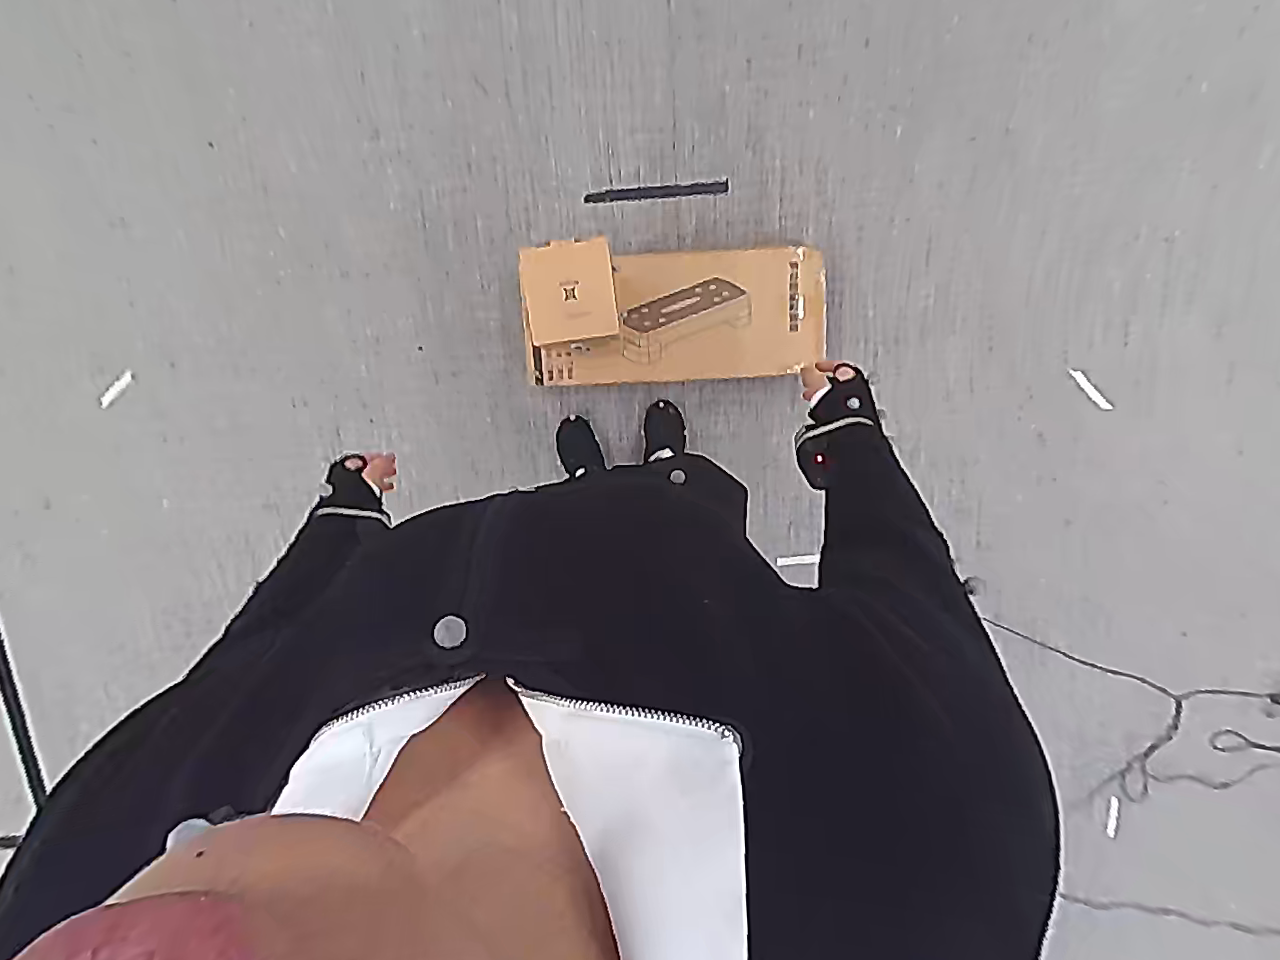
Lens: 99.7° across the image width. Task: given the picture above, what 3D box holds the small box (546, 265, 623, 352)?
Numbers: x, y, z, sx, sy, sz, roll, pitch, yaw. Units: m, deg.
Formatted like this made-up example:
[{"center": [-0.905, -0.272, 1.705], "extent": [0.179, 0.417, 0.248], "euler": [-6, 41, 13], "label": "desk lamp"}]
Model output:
[{"center": [-0.125, -0.383, 1.234], "extent": [0.168, 0.176, 0.179], "euler": [-1, 100, -1], "label": "small box"}]

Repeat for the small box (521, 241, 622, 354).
[{"center": [-0.128, -0.354, 1.074], "extent": [0.168, 0.176, 0.179], "euler": [-8, 100, 1], "label": "small box"}]
